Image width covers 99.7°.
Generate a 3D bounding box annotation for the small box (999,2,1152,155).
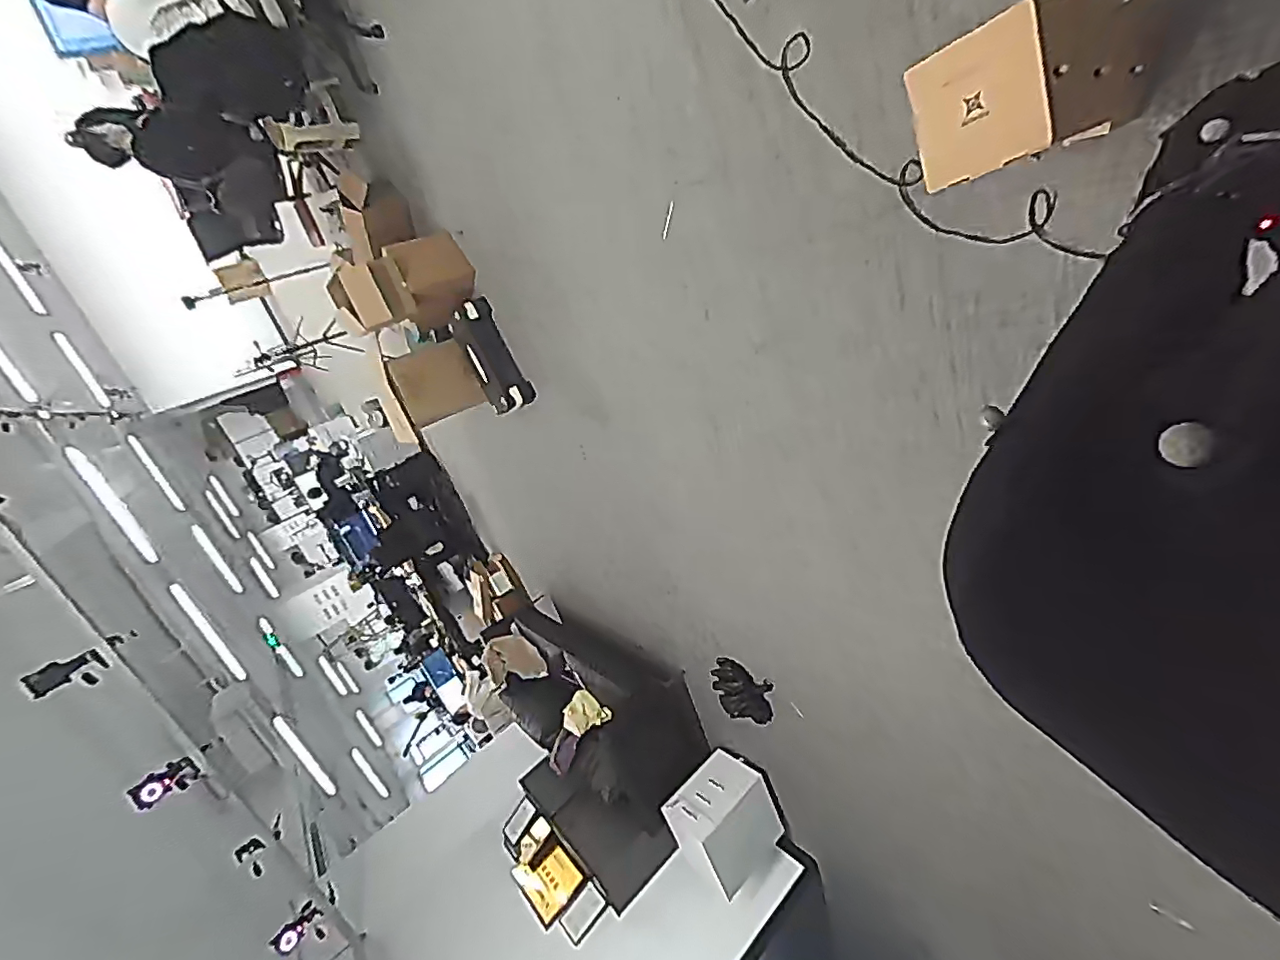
[{"bbox_3d":[0.760,-0.698,0.949,0.168,0.176,0.179,19,134,48],"label":"small box"}]
